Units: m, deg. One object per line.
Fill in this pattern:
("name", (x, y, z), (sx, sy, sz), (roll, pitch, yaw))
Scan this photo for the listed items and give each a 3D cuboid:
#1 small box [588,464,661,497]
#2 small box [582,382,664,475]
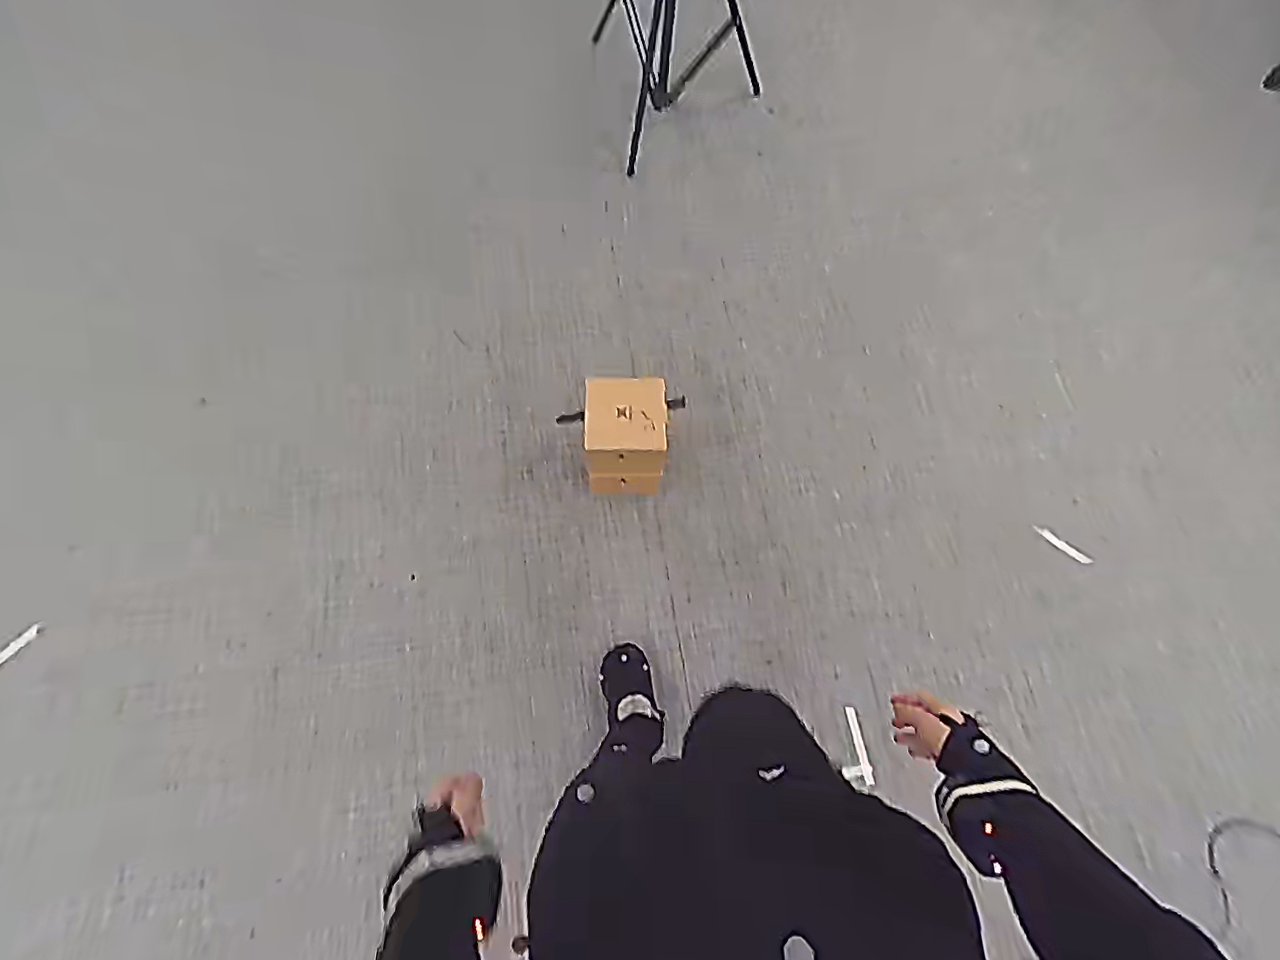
("small box", (-0.045, -0.057, 1.386), (0.179, 0.176, 0.168), (-3, 74, -4))
("small box", (-0.039, -0.111, 1.231), (0.179, 0.176, 0.168), (0, 74, -3))
